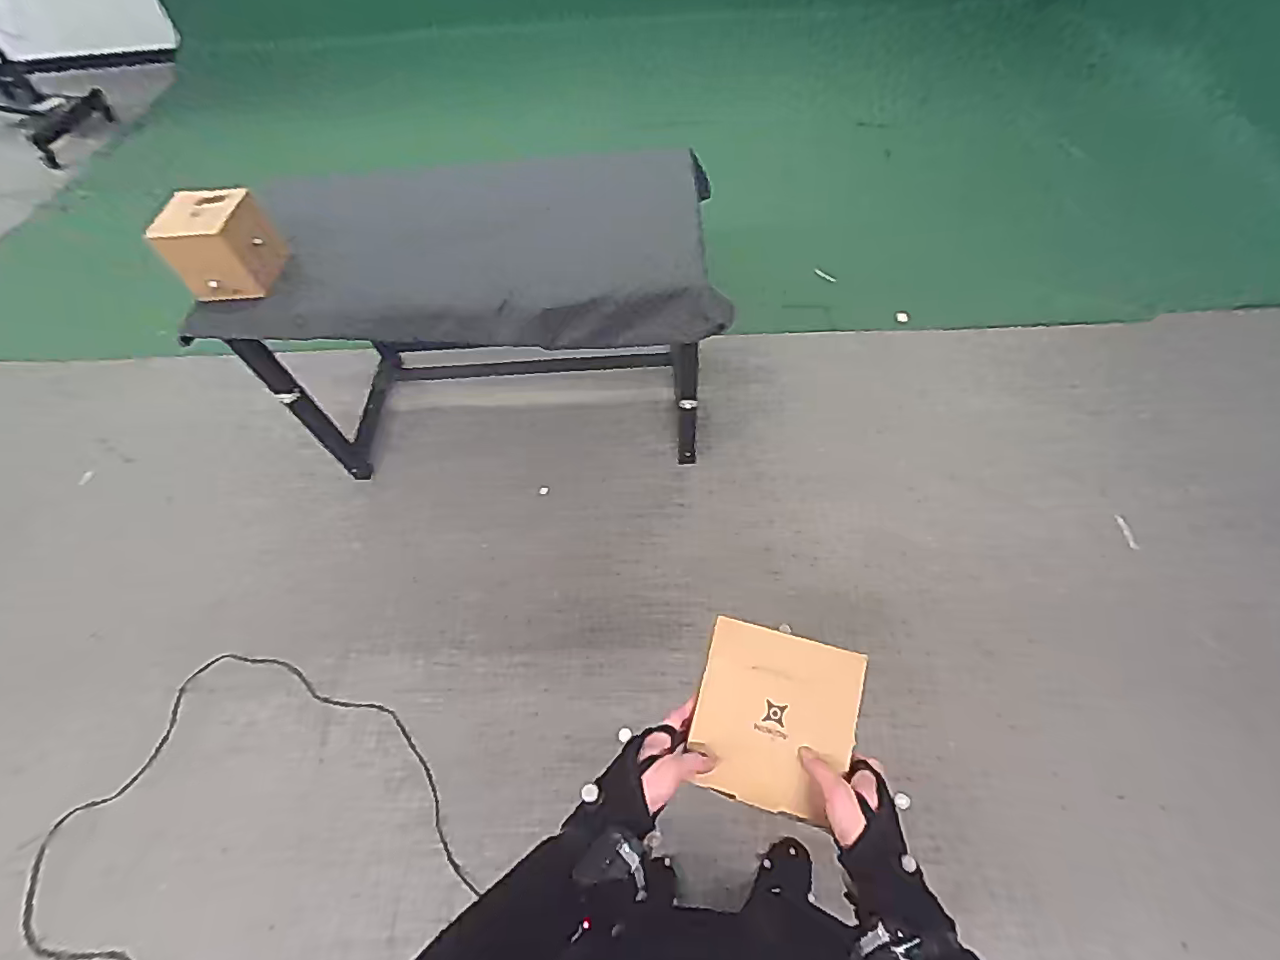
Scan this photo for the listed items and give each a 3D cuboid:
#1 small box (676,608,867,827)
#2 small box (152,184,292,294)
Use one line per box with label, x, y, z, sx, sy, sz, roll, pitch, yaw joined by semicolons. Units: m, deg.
small box;0.145;0.262;0.633;0.168;0.176;0.179;14;74;8
small box;-0.949;-0.556;1.252;0.168;0.176;0.179;-2;58;3
